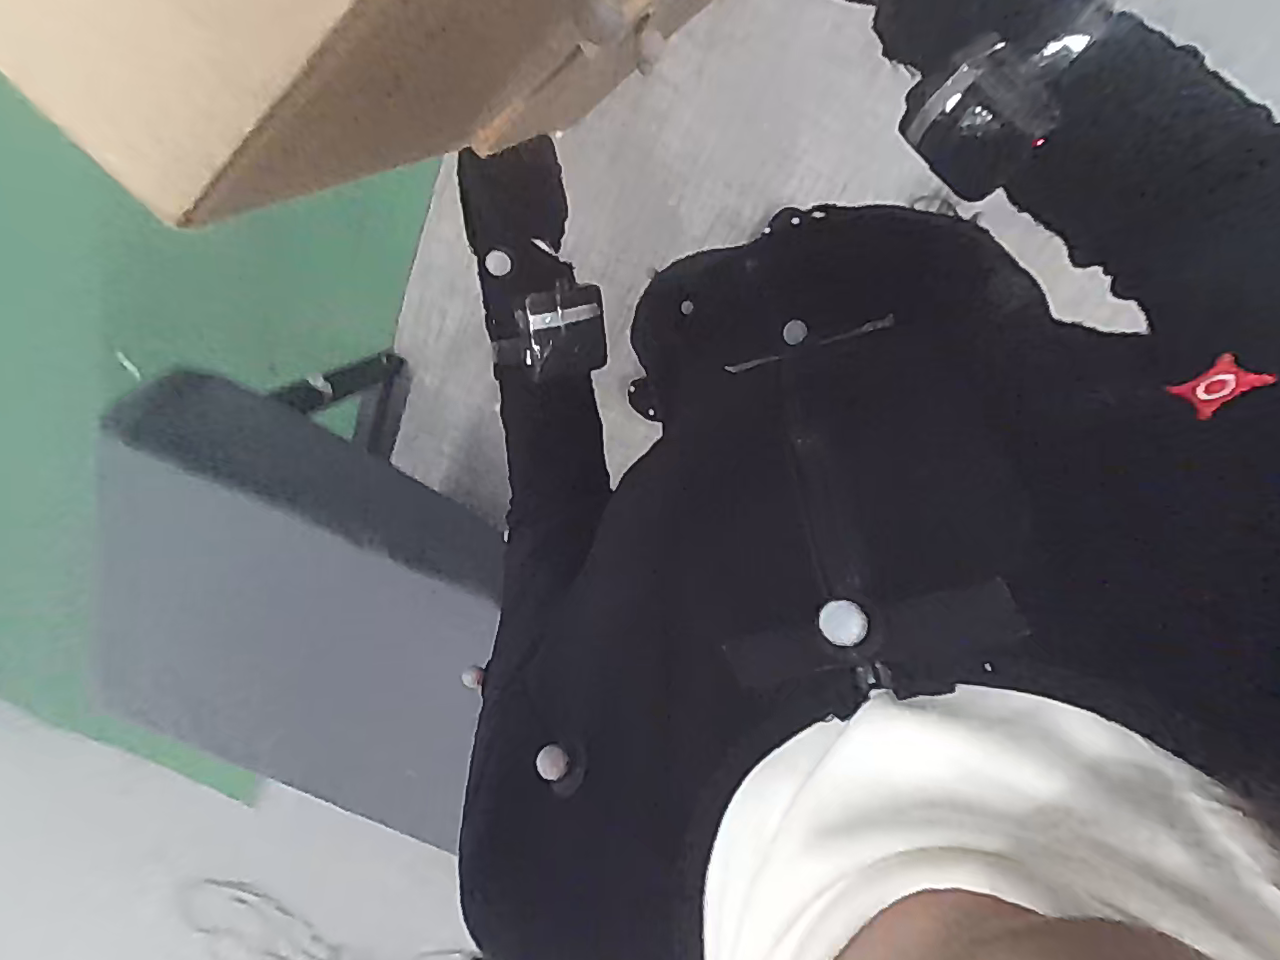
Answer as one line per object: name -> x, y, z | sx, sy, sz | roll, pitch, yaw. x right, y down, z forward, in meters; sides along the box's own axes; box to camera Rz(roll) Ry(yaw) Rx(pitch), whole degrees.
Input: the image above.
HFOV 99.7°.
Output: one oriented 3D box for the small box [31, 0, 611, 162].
small box -> -0.044, -0.193, 0.089 | 0.179, 0.176, 0.168 | -25, 121, 22
